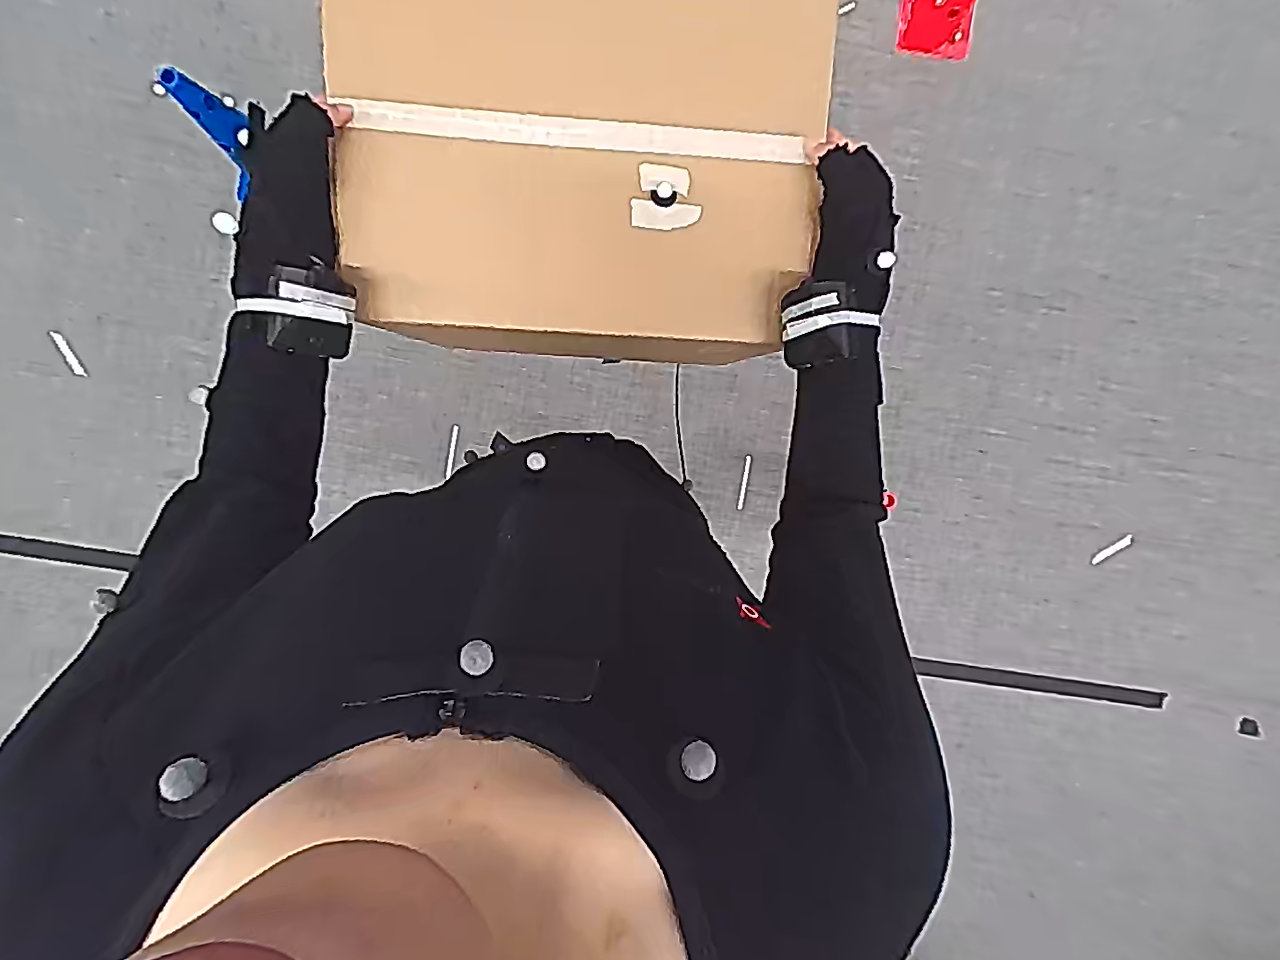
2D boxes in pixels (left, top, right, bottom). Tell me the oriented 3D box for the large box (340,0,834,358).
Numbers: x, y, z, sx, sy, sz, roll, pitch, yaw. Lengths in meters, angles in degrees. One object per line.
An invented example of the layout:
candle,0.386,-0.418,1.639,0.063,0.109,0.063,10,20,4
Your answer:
large box,-0.054,-0.308,0.596,0.408,0.320,0.320,2,99,-5

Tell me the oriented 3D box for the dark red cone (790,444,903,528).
dark red cone,0.522,0.028,1.303,0.201,0.394,0.202,15,92,-2

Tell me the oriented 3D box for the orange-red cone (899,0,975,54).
orange-red cone,0.802,-1.241,1.267,0.198,0.360,0.199,7,92,-4

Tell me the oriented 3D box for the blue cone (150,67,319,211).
blue cone,-0.930,-0.795,1.237,0.192,0.380,0.193,12,92,-2
